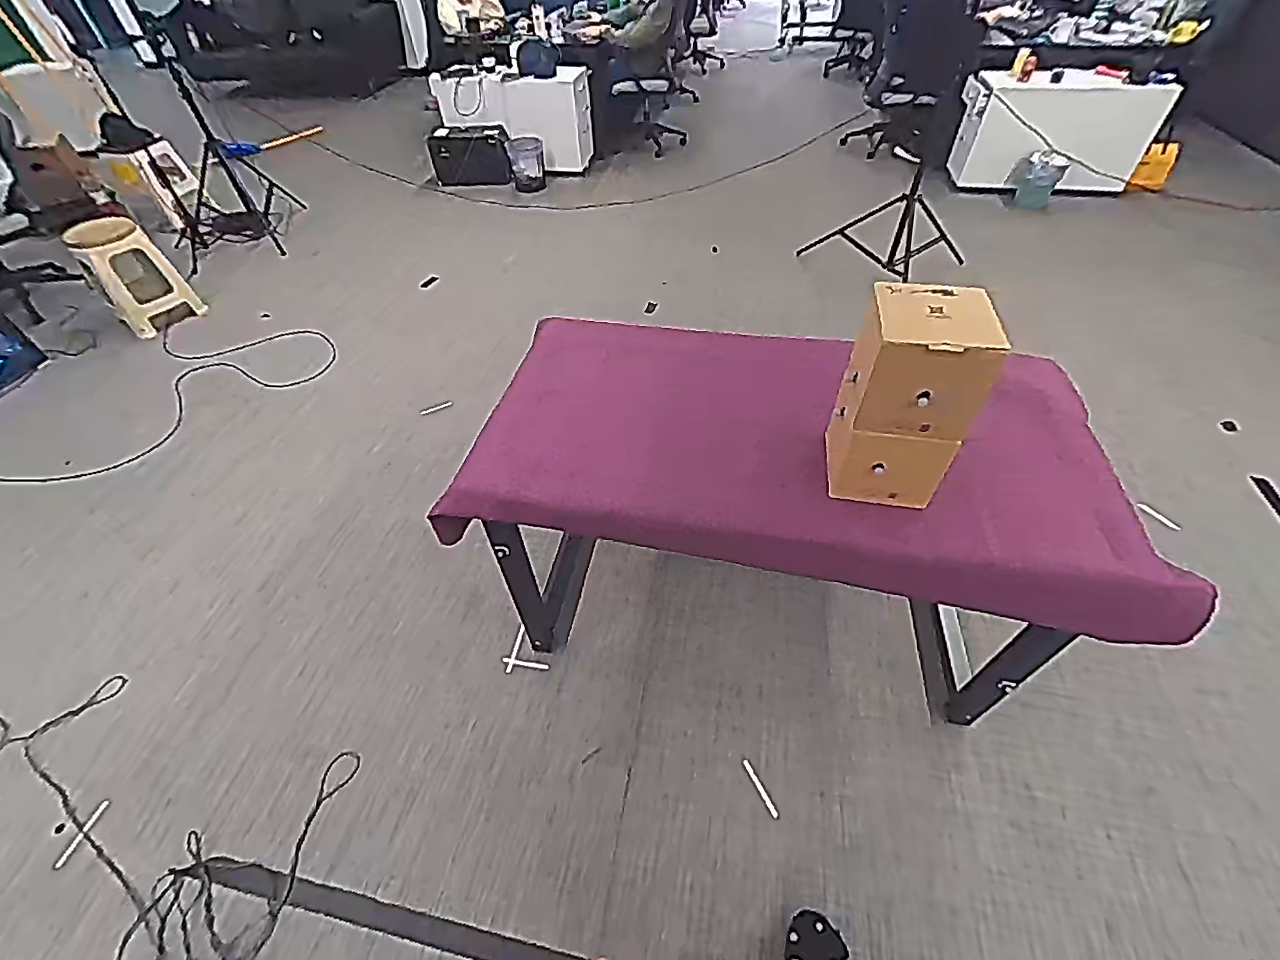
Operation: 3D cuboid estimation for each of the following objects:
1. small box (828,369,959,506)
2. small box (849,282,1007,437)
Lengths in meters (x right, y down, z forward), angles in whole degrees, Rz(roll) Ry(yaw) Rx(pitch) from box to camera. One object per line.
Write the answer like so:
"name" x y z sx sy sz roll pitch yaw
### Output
"small box" 0.439 -0.075 0.969 0.168 0.176 0.179 7 48 9
"small box" 0.436 -0.188 0.850 0.168 0.176 0.179 8 49 10
